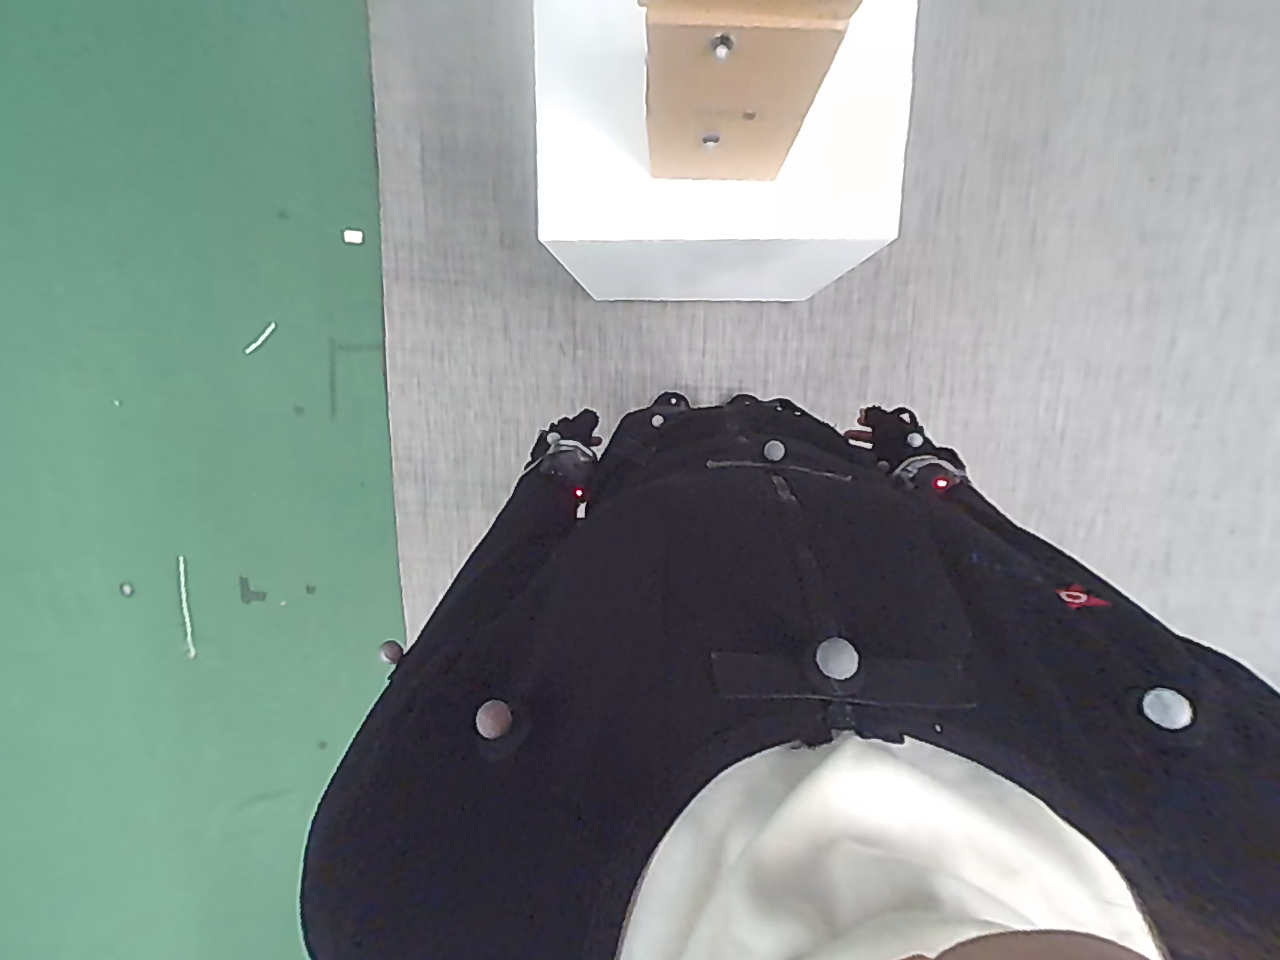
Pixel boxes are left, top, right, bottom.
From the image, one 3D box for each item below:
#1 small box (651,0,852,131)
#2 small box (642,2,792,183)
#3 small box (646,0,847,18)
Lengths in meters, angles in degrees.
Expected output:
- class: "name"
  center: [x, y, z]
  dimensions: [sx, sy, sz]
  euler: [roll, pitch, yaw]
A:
- class: "small box"
  center: [0.095, -0.464, 0.509]
  dimensions: [0.168, 0.176, 0.179]
  euler: [2, 100, 2]
- class: "small box"
  center: [0.098, -0.487, 0.669]
  dimensions: [0.179, 0.176, 0.168]
  euler: [3, 99, 3]
- class: "small box"
  center: [0.083, -0.442, 0.347]
  dimensions: [0.179, 0.176, 0.168]
  euler: [5, 102, 2]
